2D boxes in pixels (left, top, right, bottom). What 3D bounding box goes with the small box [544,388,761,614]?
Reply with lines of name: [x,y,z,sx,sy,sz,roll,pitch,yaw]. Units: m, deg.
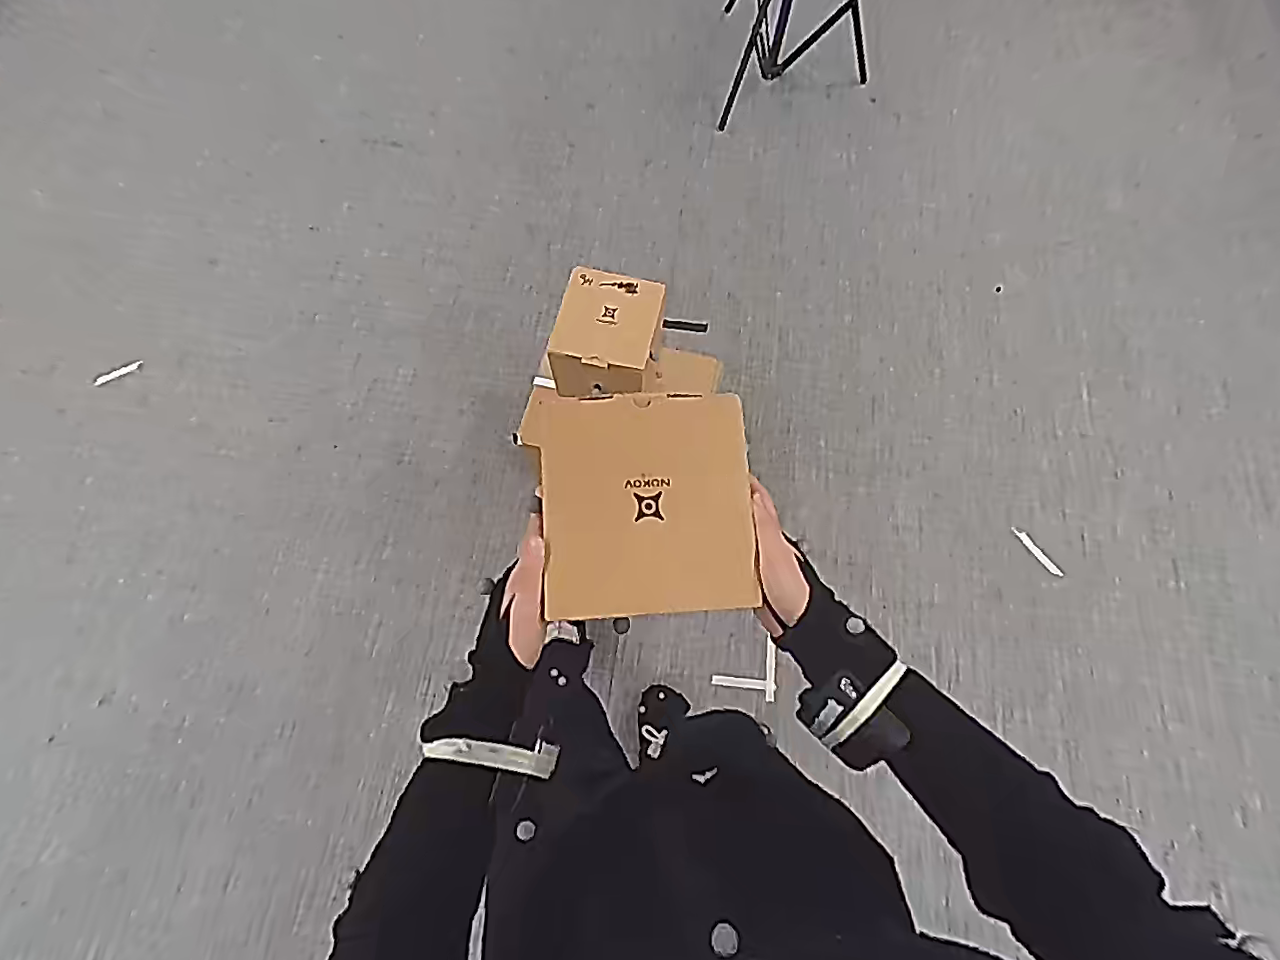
small box: [0.001,0.028,0.499,0.168,0.176,0.179,-2,76,-6]

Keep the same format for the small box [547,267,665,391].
small box: [-0.056,-0.245,0.975,0.168,0.176,0.179,13,73,2]
